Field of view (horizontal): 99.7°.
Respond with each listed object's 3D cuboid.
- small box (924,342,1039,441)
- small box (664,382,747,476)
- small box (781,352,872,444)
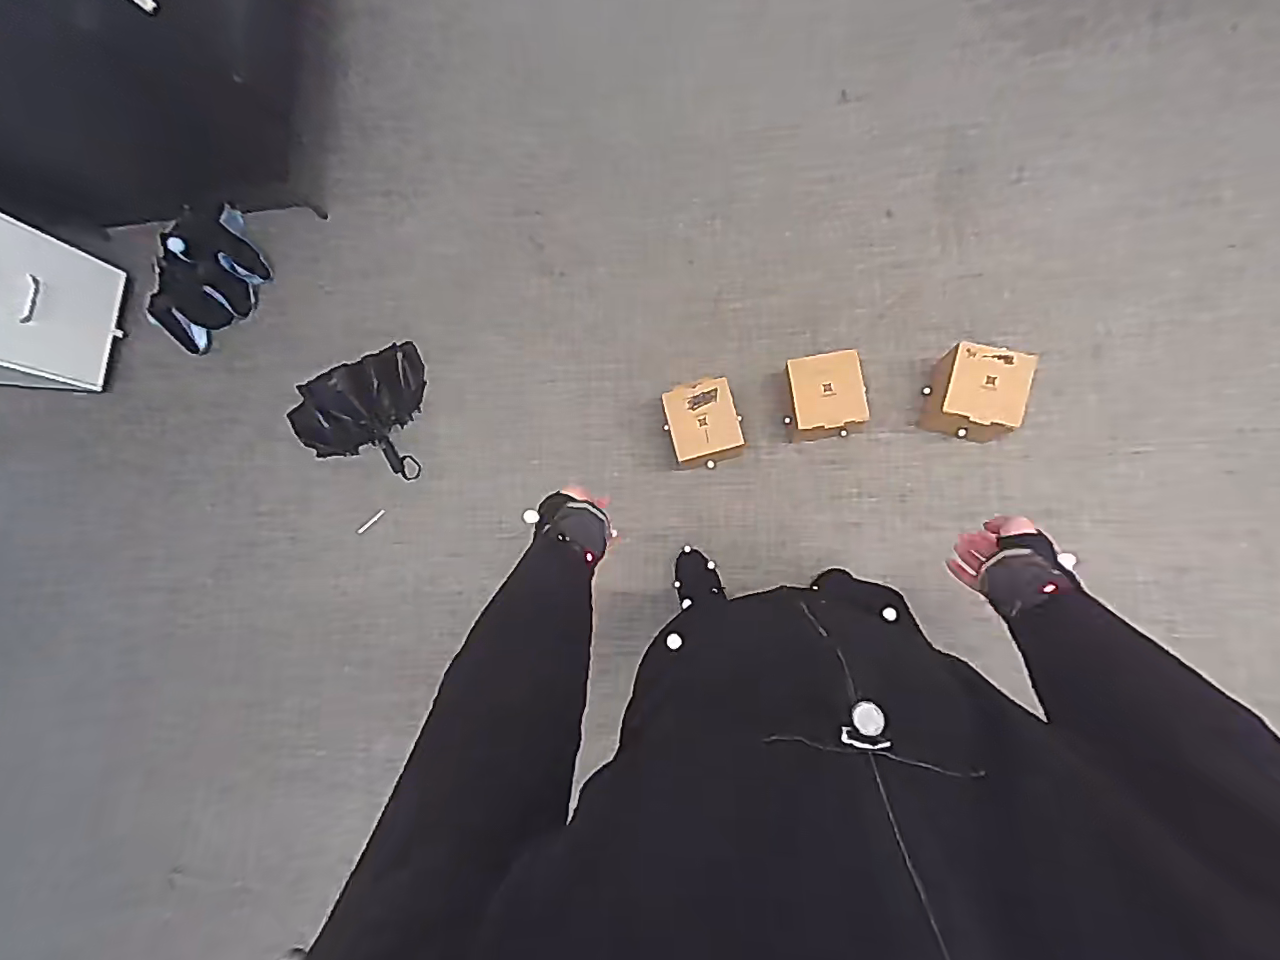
[{"bbox_3d":[0.800,-0.203,1.287,0.168,0.176,0.179,15,85,11],"label":"small box"},{"bbox_3d":[0.167,-0.122,1.375,0.168,0.176,0.179,-16,81,7],"label":"small box"},{"bbox_3d":[0.454,-0.193,1.343,0.168,0.176,0.179,-10,80,6],"label":"small box"}]
